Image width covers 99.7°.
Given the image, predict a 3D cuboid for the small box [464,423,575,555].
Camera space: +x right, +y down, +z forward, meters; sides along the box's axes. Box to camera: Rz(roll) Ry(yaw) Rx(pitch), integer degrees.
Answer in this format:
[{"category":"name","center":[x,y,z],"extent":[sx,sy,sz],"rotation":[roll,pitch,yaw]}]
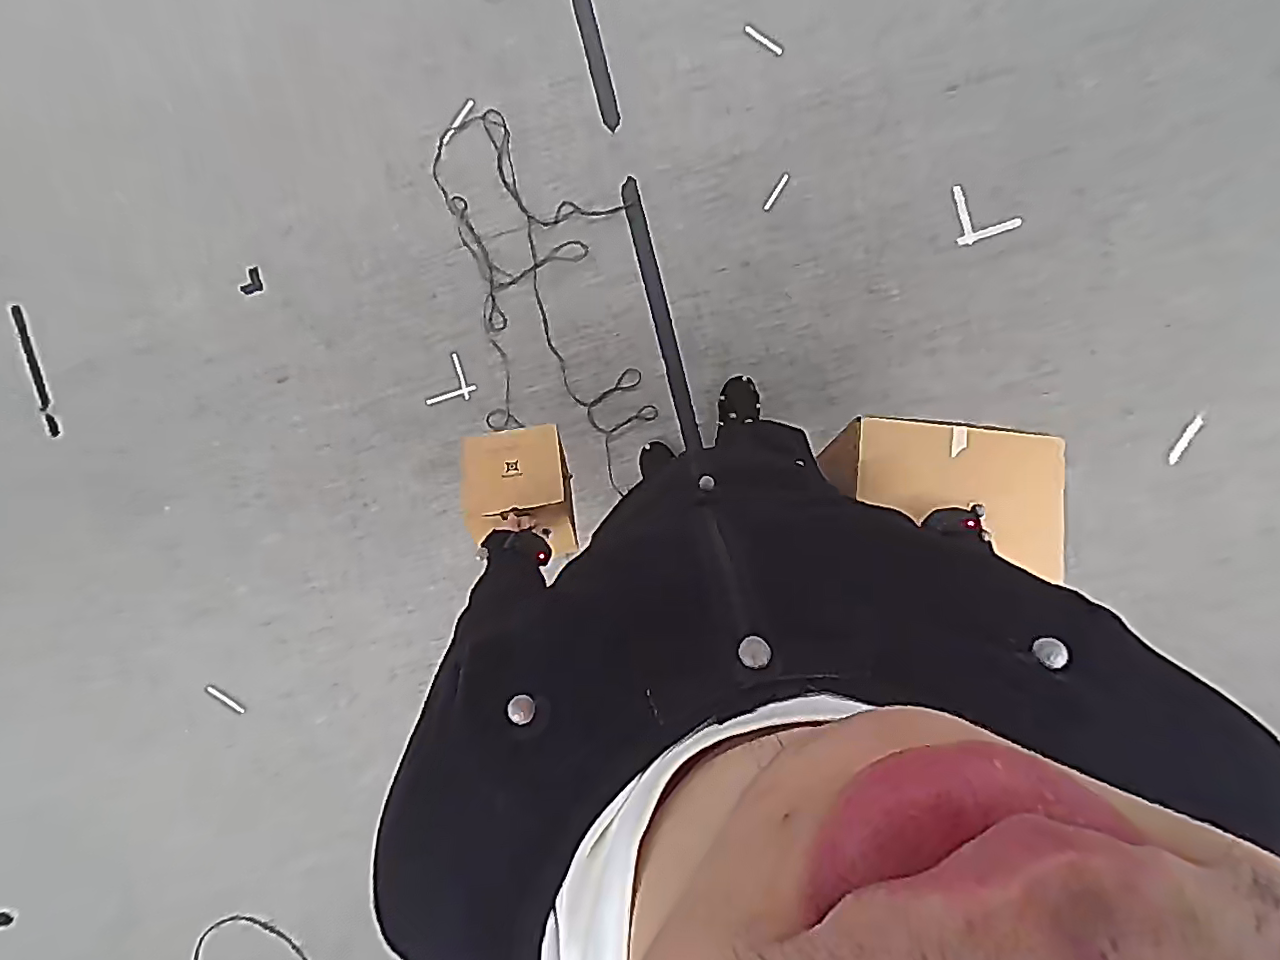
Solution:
[{"category":"small box","center":[-0.215,0.024,0.987],"extent":[0.168,0.176,0.179],"rotation":[-9,55,-5]}]
